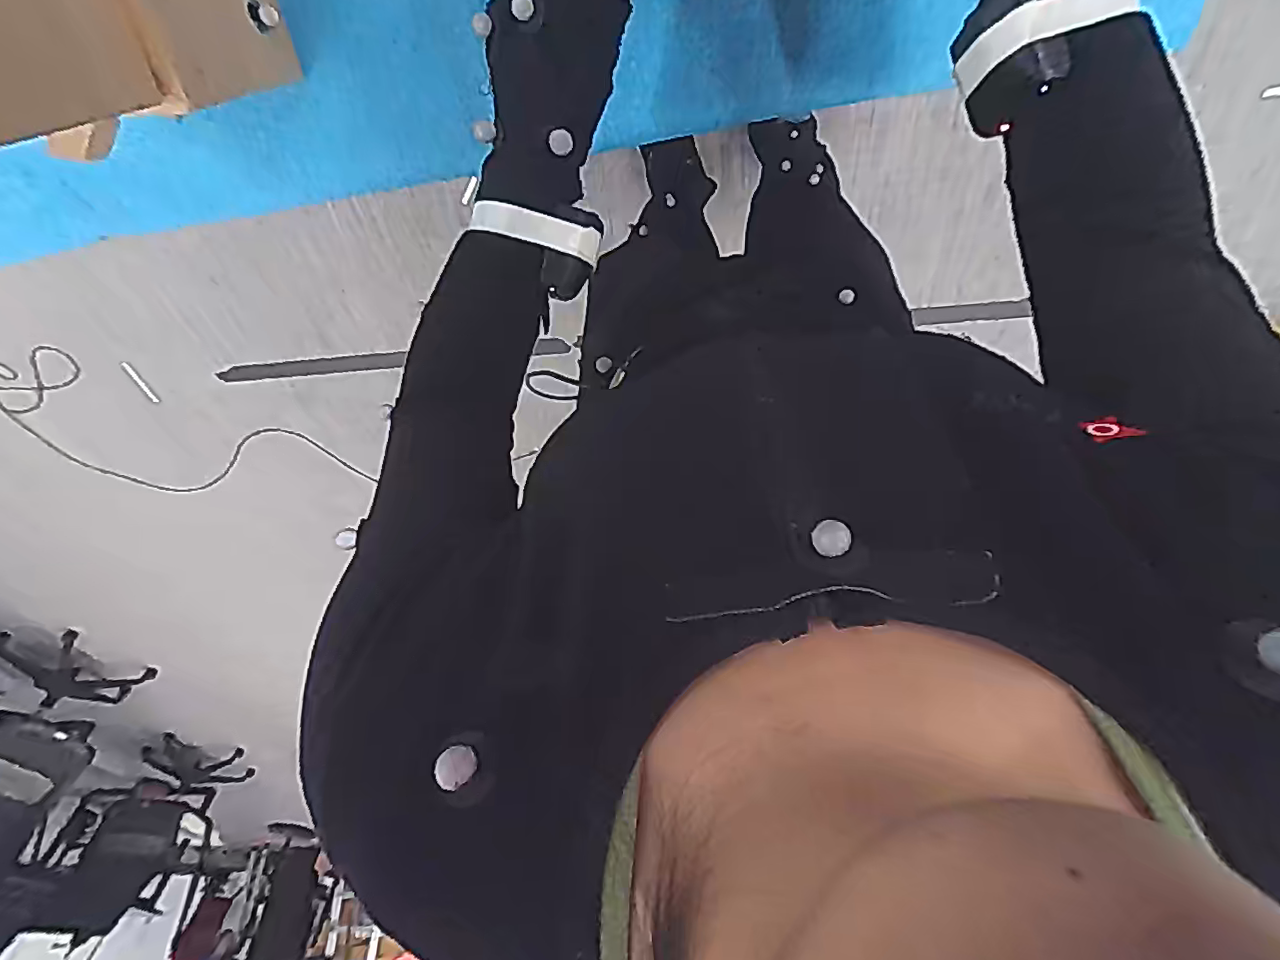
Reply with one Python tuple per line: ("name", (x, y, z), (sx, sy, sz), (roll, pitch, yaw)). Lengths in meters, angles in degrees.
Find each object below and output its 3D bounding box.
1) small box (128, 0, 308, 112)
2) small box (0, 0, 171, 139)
("small box", (-0.393, -0.376, 0.388), (0.168, 0.176, 0.179), (-1, 133, 3))
("small box", (-0.406, -0.272, 0.260), (0.168, 0.176, 0.179), (2, 134, 1))
